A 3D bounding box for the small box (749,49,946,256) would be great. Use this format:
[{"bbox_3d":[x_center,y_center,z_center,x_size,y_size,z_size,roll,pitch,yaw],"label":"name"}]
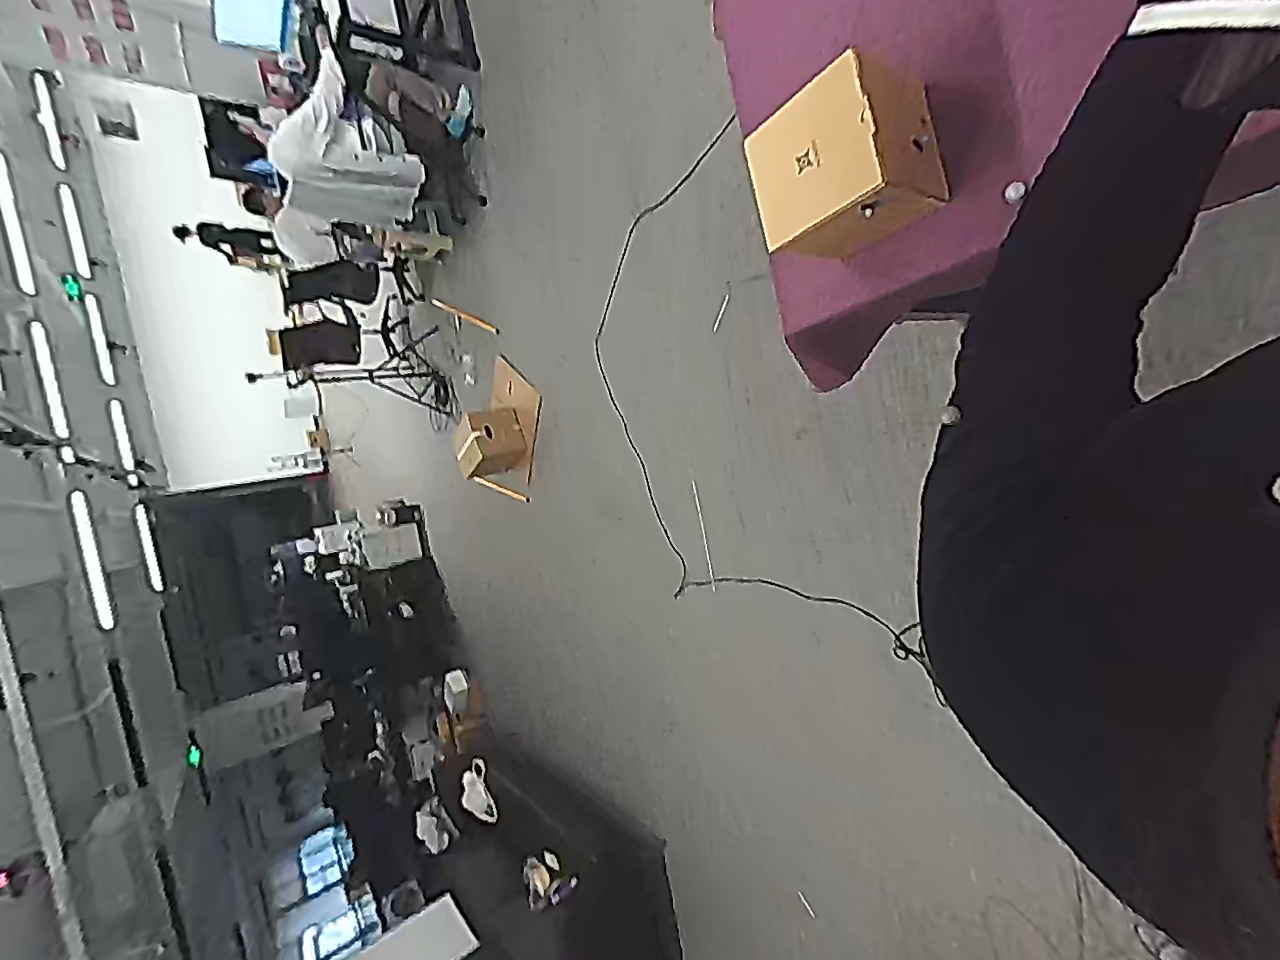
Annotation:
[{"bbox_3d":[0.283,-0.428,0.746,0.179,0.176,0.168,-14,88,53],"label":"small box"}]
